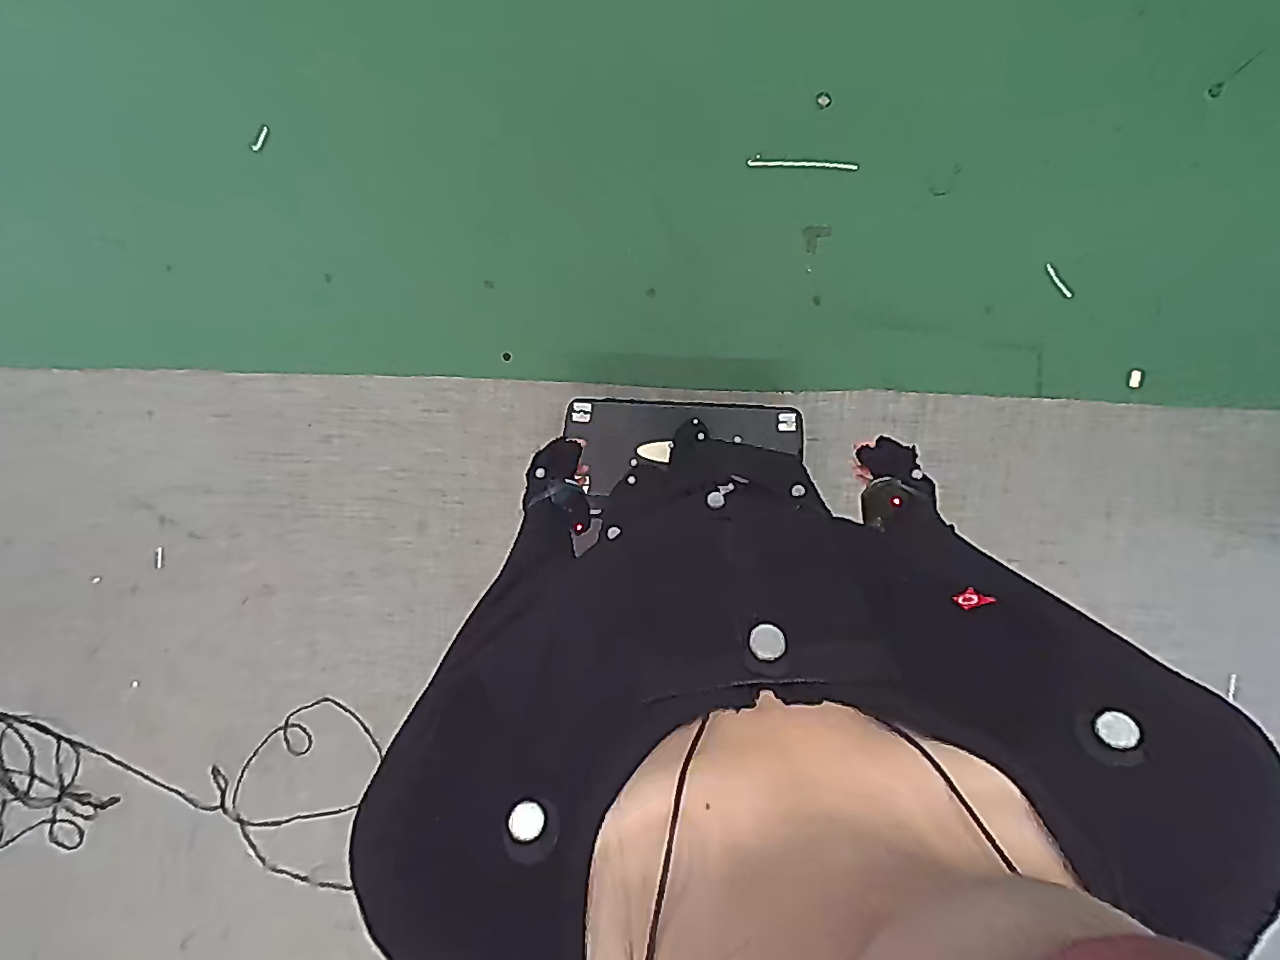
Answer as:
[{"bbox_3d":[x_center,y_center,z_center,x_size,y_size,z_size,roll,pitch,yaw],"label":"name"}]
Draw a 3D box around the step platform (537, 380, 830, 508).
[{"bbox_3d":[0.101,-0.093,1.354,0.684,0.204,0.286,2,97,2],"label":"step platform"}]
